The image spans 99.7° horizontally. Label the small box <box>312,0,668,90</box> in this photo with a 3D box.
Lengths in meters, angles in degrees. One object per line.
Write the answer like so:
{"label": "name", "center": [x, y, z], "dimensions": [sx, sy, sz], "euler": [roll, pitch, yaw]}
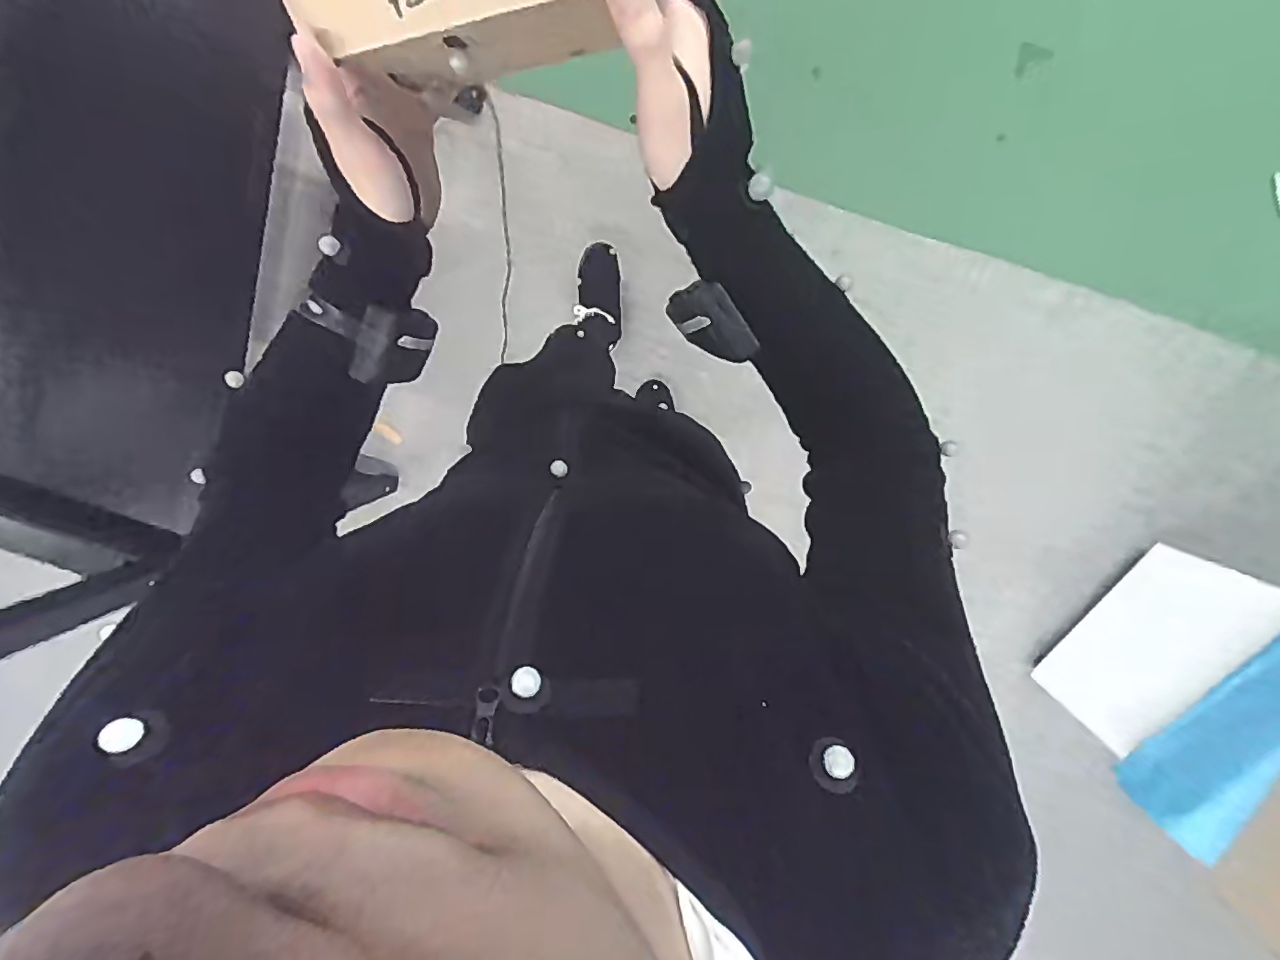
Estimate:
{"label": "small box", "center": [-0.081, -0.337, 0.290], "dimensions": [0.168, 0.176, 0.179], "euler": [-4, 120, 11]}
